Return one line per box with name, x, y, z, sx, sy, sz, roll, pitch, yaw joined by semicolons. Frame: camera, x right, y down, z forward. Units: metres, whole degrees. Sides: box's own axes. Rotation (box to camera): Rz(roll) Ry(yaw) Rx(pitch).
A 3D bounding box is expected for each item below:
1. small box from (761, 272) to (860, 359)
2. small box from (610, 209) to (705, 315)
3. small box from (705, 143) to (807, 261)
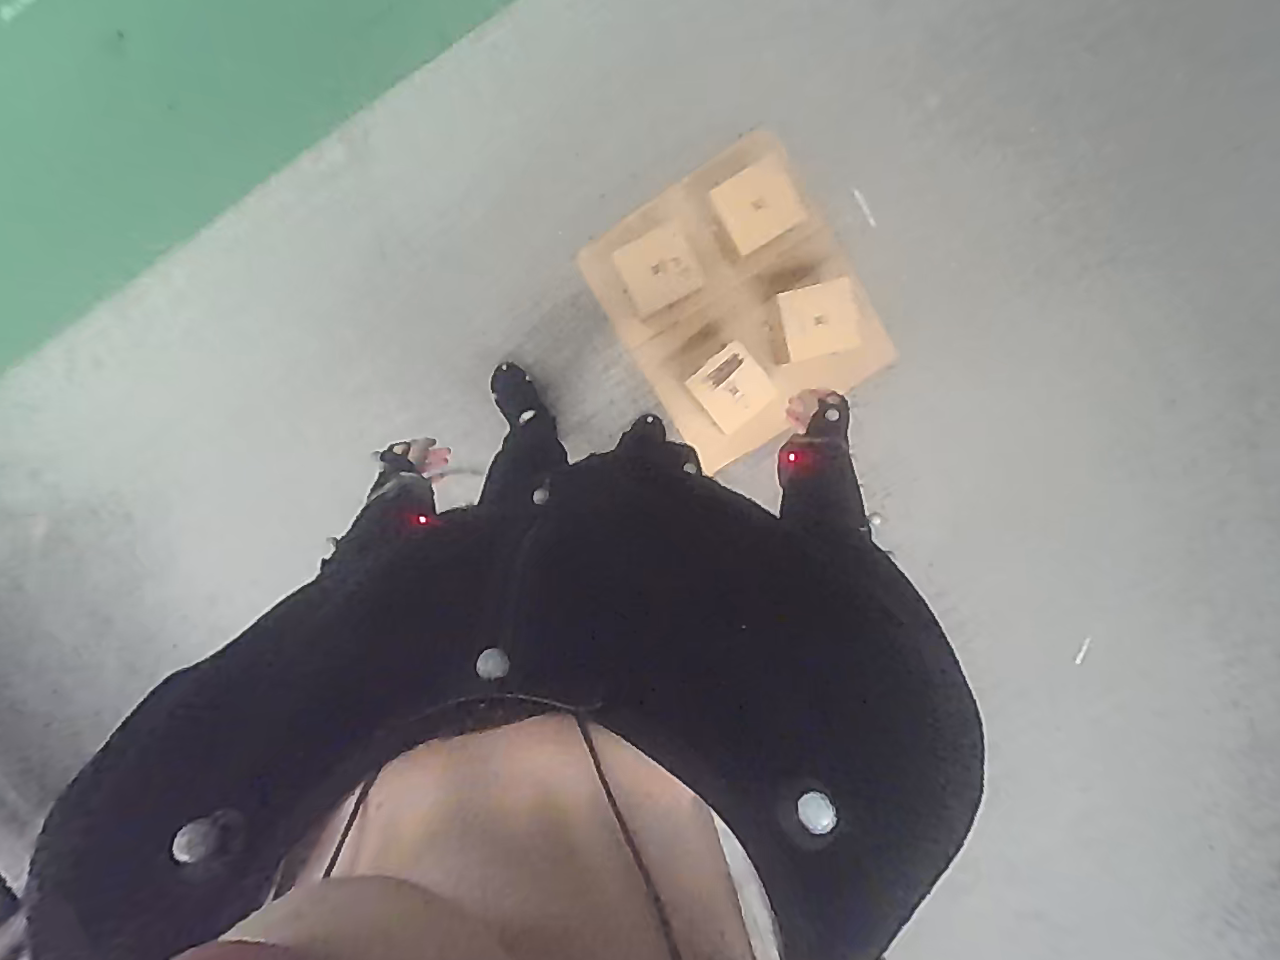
small box;0.419;-0.402;1.344;0.179;0.176;0.168;-13;99;1
small box;0.042;-0.521;1.324;0.179;0.176;0.168;-26;99;3
small box;0.269;-0.657;1.305;0.179;0.176;0.168;-30;99;4
